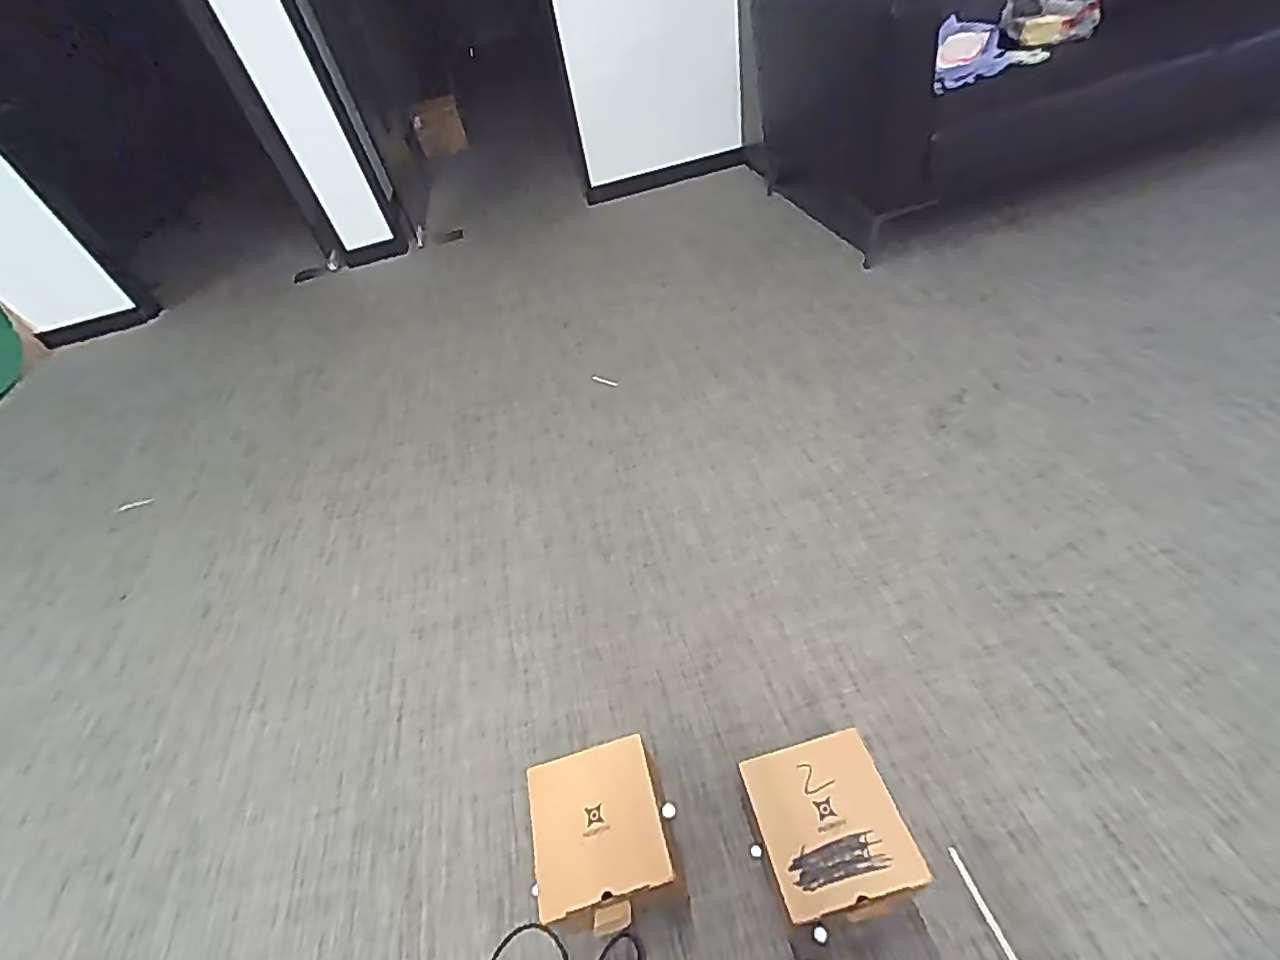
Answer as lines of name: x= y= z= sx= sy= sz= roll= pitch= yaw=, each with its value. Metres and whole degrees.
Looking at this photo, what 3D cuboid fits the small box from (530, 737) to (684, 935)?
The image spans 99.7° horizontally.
small box: x=-0.045 y=0.496 z=0.753 sx=0.168 sy=0.176 sz=0.179 roll=-16 pitch=46 yaw=-3
